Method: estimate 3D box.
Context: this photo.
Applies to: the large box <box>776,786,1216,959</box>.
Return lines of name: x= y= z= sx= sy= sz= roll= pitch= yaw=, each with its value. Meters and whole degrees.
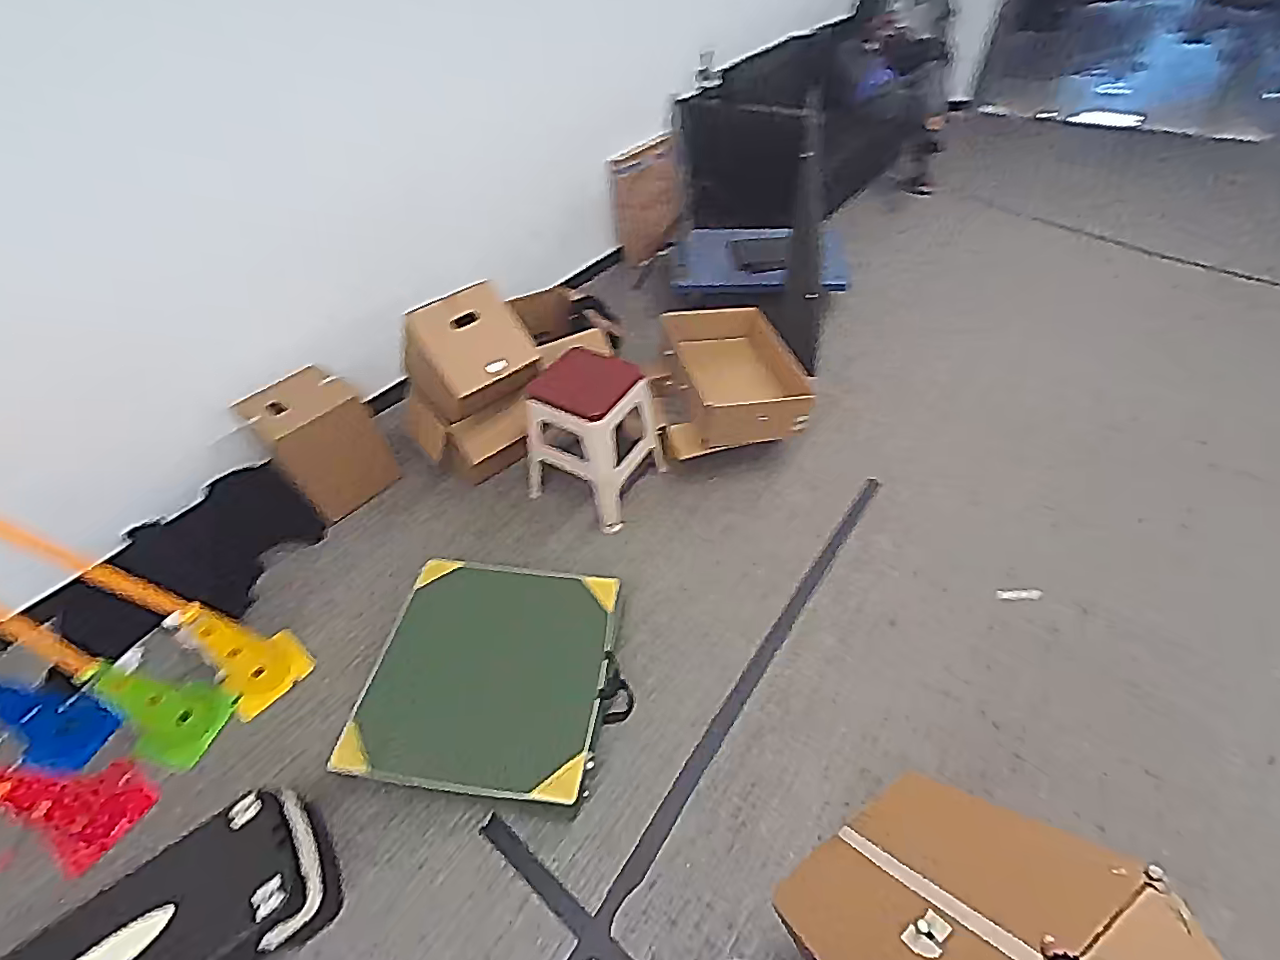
large box: x=0.440 y=0.654 z=0.657 sx=0.320 sy=0.408 sz=0.320 roll=-29 pitch=81 yaw=-15
